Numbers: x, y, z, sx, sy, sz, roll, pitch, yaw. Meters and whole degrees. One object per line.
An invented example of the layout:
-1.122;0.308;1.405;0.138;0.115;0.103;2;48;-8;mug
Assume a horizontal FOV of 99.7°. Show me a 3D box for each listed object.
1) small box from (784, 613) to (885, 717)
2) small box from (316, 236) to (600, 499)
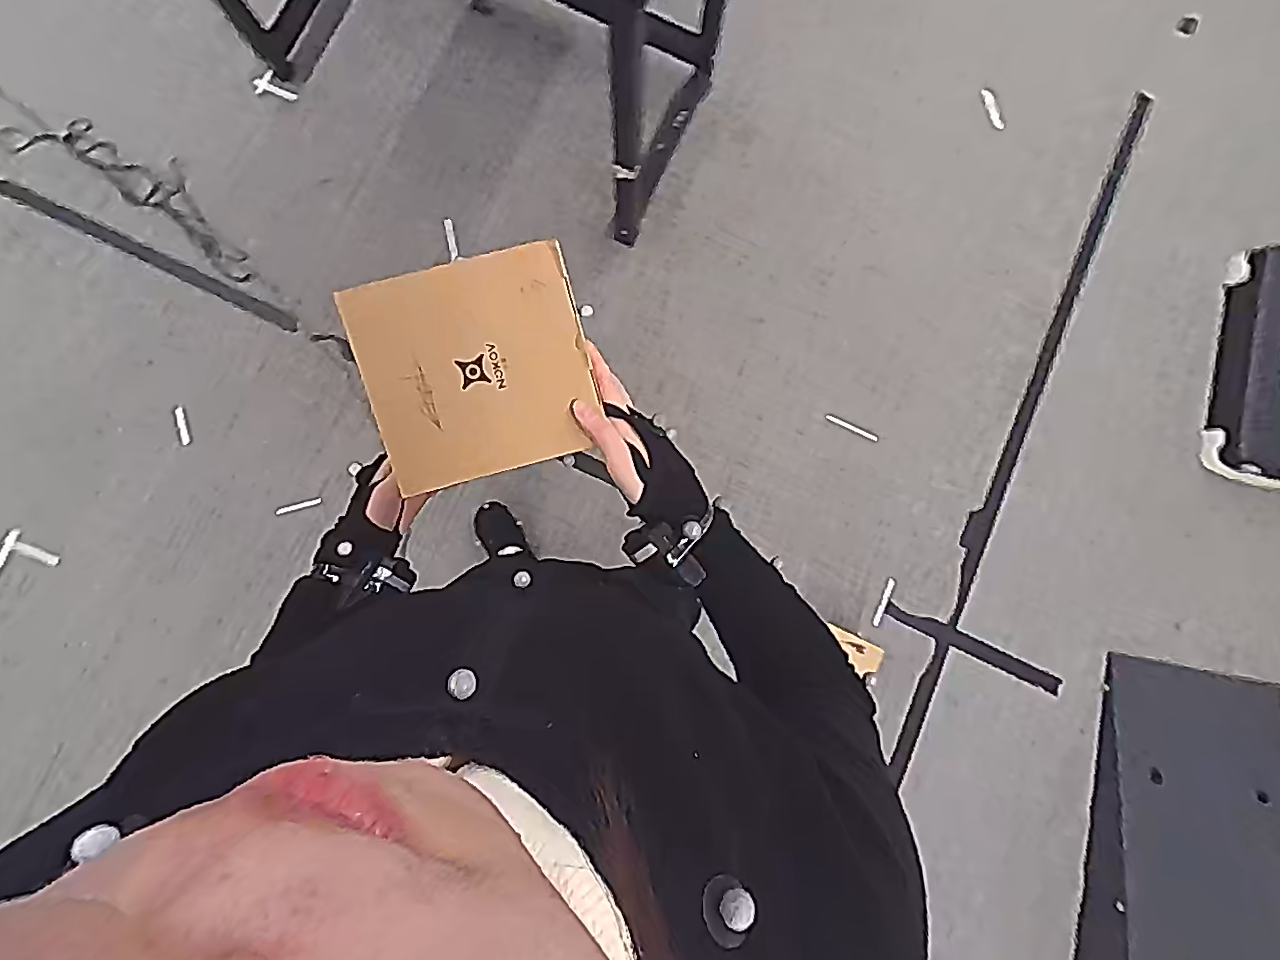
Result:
0.487;0.465;1.389;0.168;0.176;0.179;26;86;1;small box
-0.141;-0.095;0.488;0.179;0.176;0.168;-16;98;-2;small box
